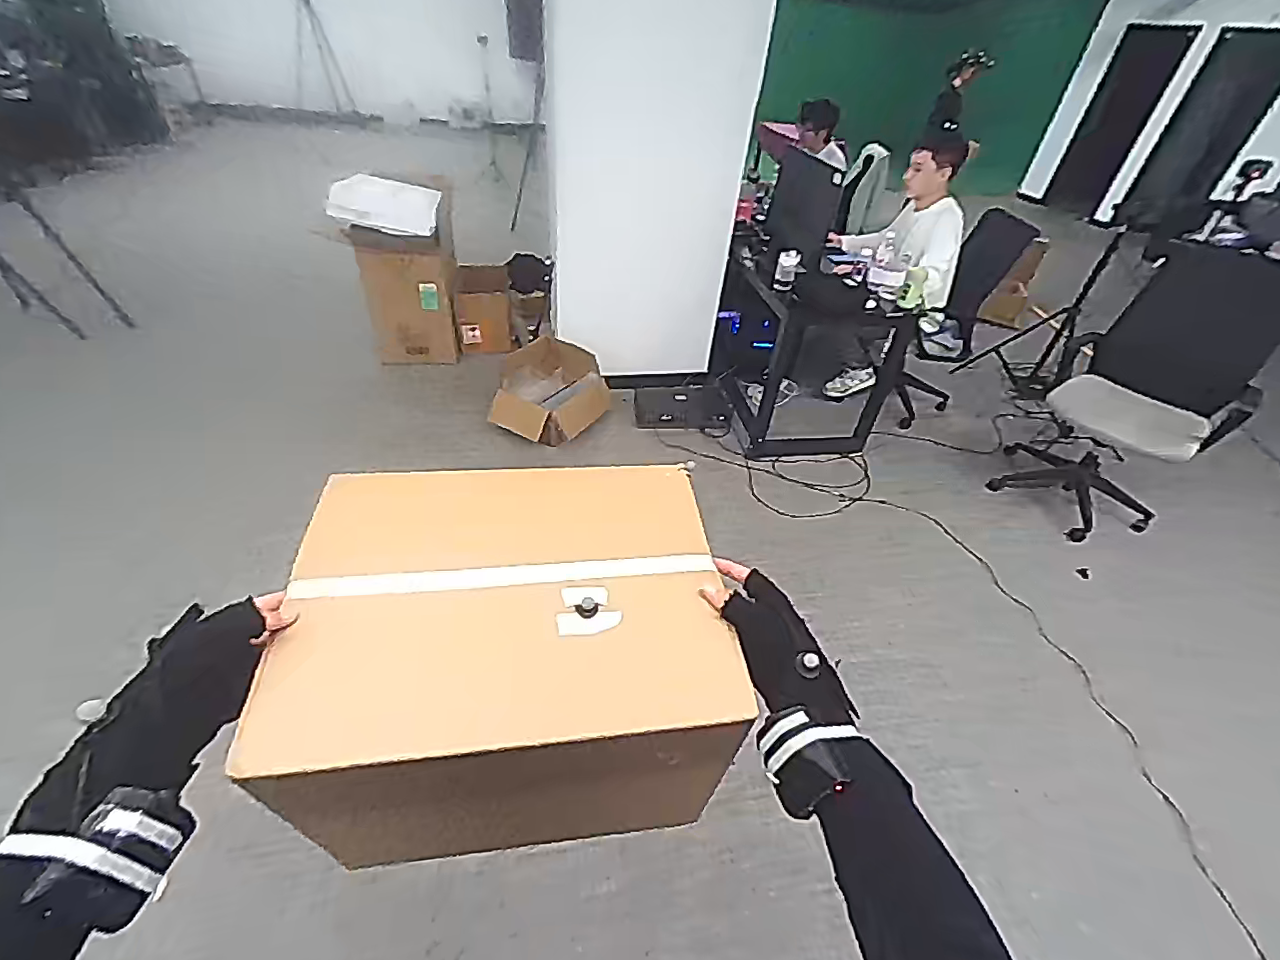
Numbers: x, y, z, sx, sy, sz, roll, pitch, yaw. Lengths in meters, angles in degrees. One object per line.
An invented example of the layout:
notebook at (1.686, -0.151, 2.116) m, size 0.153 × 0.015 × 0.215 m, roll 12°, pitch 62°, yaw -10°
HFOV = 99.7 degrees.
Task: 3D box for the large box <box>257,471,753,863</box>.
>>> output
large box at (-0.133, 0.209, 0.642) m, size 0.408 × 0.320 × 0.320 m, roll -2°, pitch 45°, yaw -10°
